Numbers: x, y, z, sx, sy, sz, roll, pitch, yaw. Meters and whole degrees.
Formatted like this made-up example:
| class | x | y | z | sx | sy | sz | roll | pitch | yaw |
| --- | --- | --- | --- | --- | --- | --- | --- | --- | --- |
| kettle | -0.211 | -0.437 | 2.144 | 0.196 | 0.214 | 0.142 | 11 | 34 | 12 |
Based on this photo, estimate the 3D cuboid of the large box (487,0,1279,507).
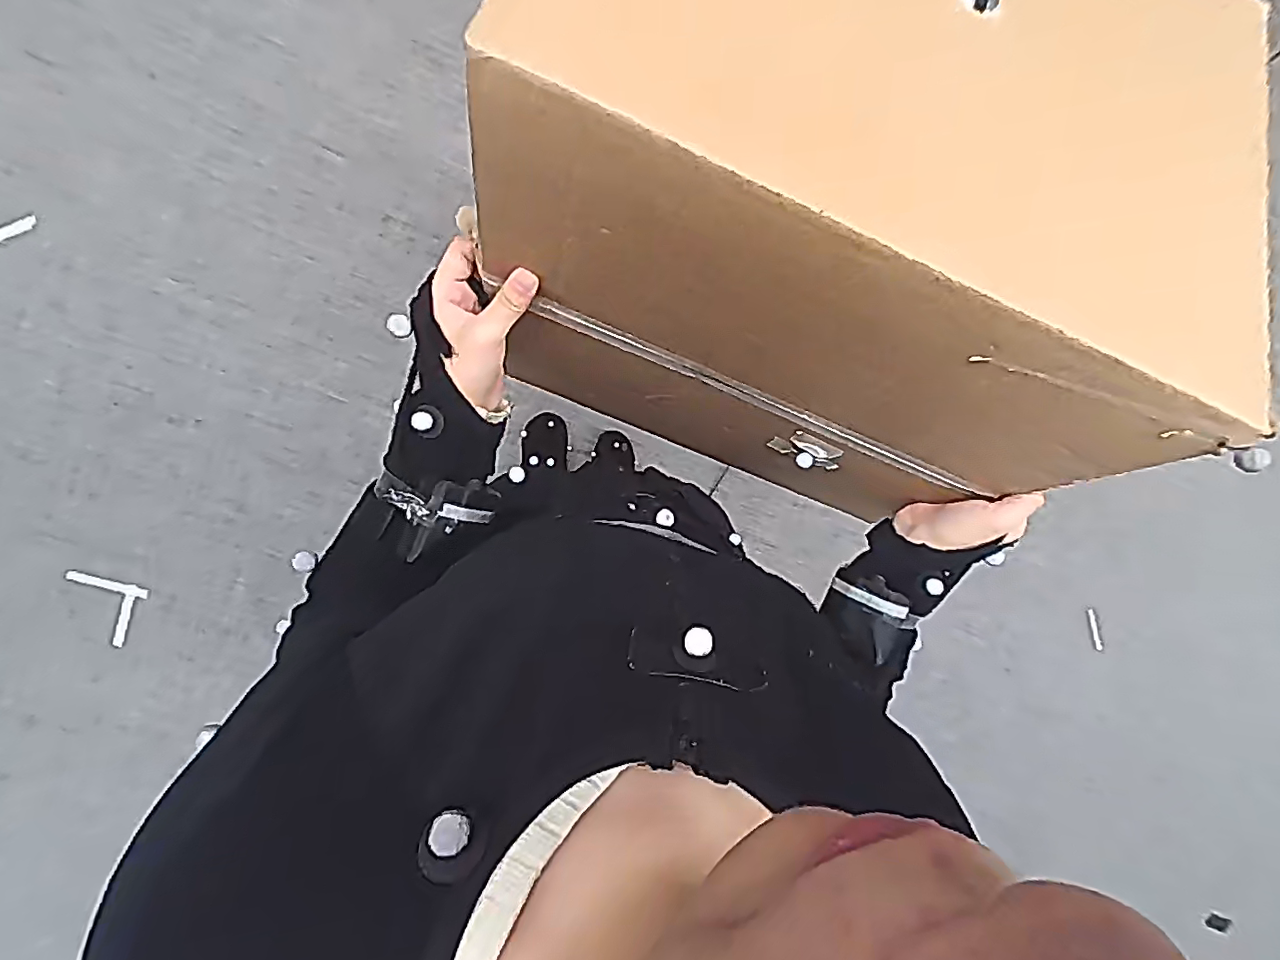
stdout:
| class | x | y | z | sx | sy | sz | roll | pitch | yaw |
| --- | --- | --- | --- | --- | --- | --- | --- | --- | --- |
| large box | 0.143 | -0.210 | 0.394 | 0.408 | 0.320 | 0.320 | 20 | 75 | -8 |
